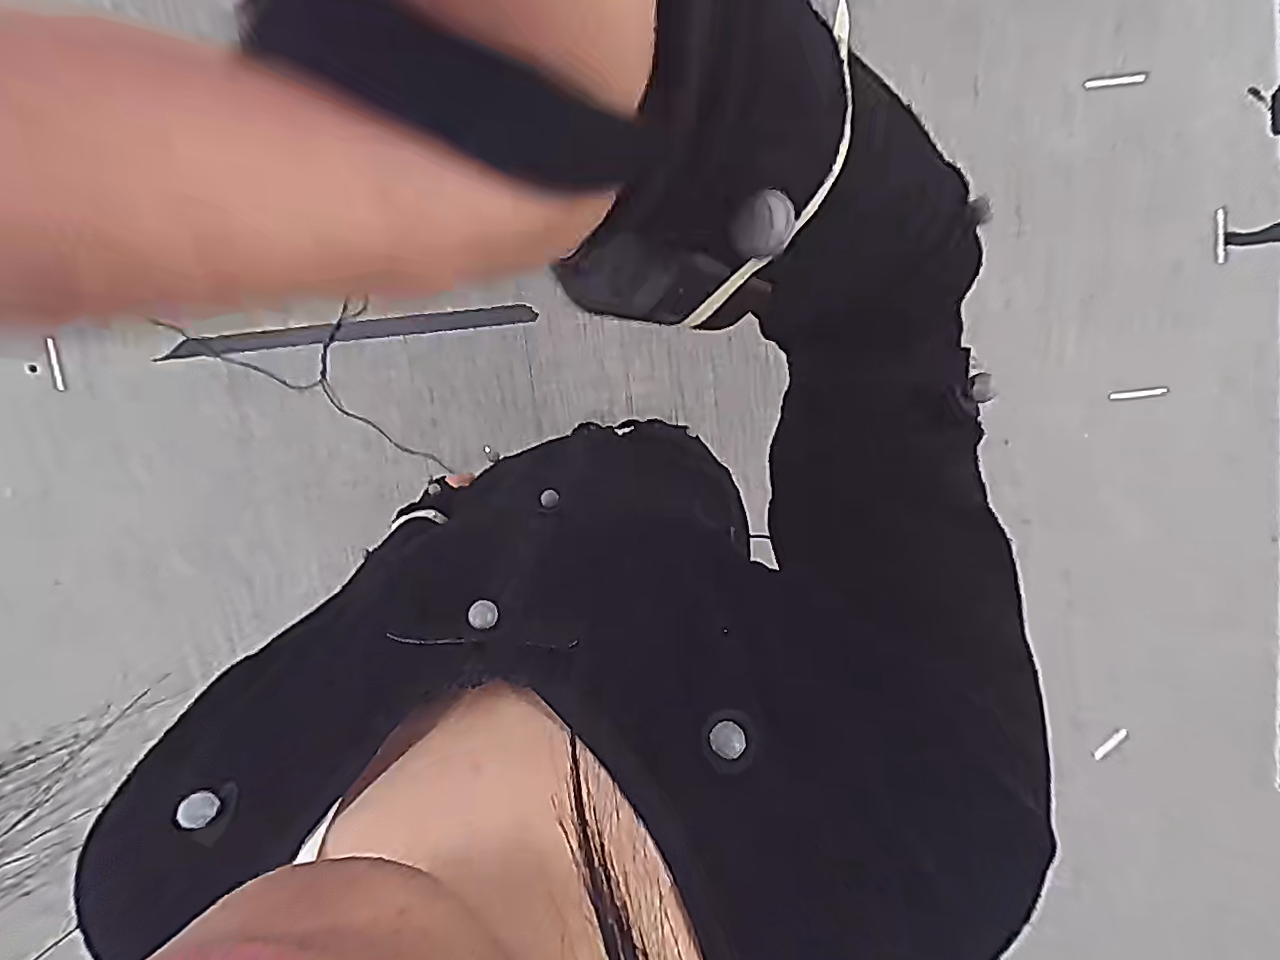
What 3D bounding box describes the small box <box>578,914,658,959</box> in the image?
[{"bbox_3d":[-0.047,1.136,1.231,0.179,0.176,0.168,-8,94,1],"label":"small box"}]
